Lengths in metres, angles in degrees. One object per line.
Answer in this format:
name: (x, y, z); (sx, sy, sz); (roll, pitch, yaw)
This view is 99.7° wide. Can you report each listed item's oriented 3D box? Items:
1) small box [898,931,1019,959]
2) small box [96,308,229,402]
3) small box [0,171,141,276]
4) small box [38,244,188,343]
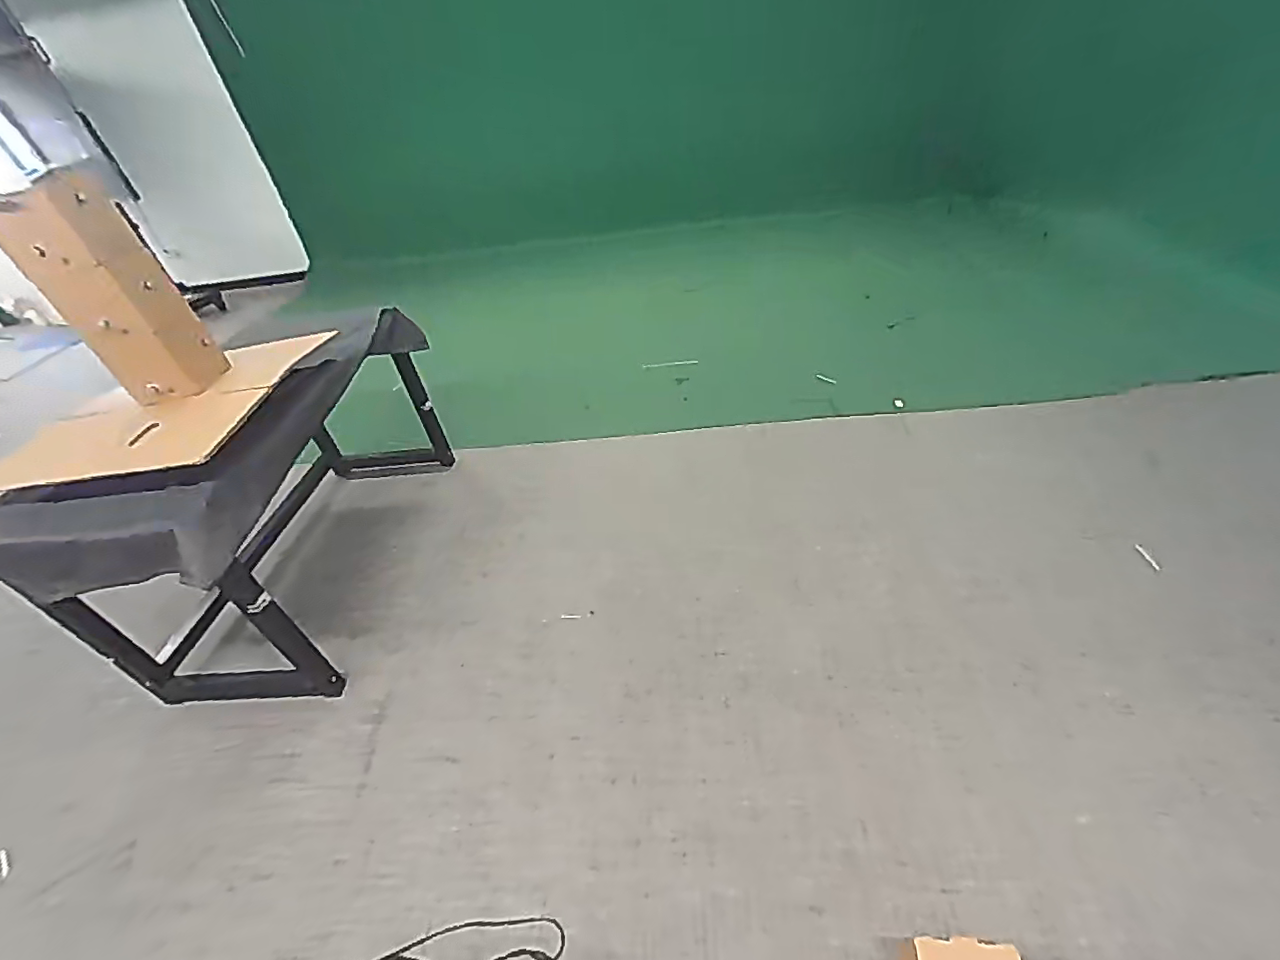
small box: (0.549, 0.897, 0.906); (0.168, 0.176, 0.179); (-2, 39, 9)
small box: (-1.240, -0.329, 1.426); (0.168, 0.176, 0.179); (-13, 38, 1)
small box: (-1.306, -0.582, 1.230); (0.168, 0.176, 0.179); (-14, 38, 0)
small box: (-1.272, -0.456, 1.326); (0.168, 0.176, 0.179); (-13, 38, 0)
